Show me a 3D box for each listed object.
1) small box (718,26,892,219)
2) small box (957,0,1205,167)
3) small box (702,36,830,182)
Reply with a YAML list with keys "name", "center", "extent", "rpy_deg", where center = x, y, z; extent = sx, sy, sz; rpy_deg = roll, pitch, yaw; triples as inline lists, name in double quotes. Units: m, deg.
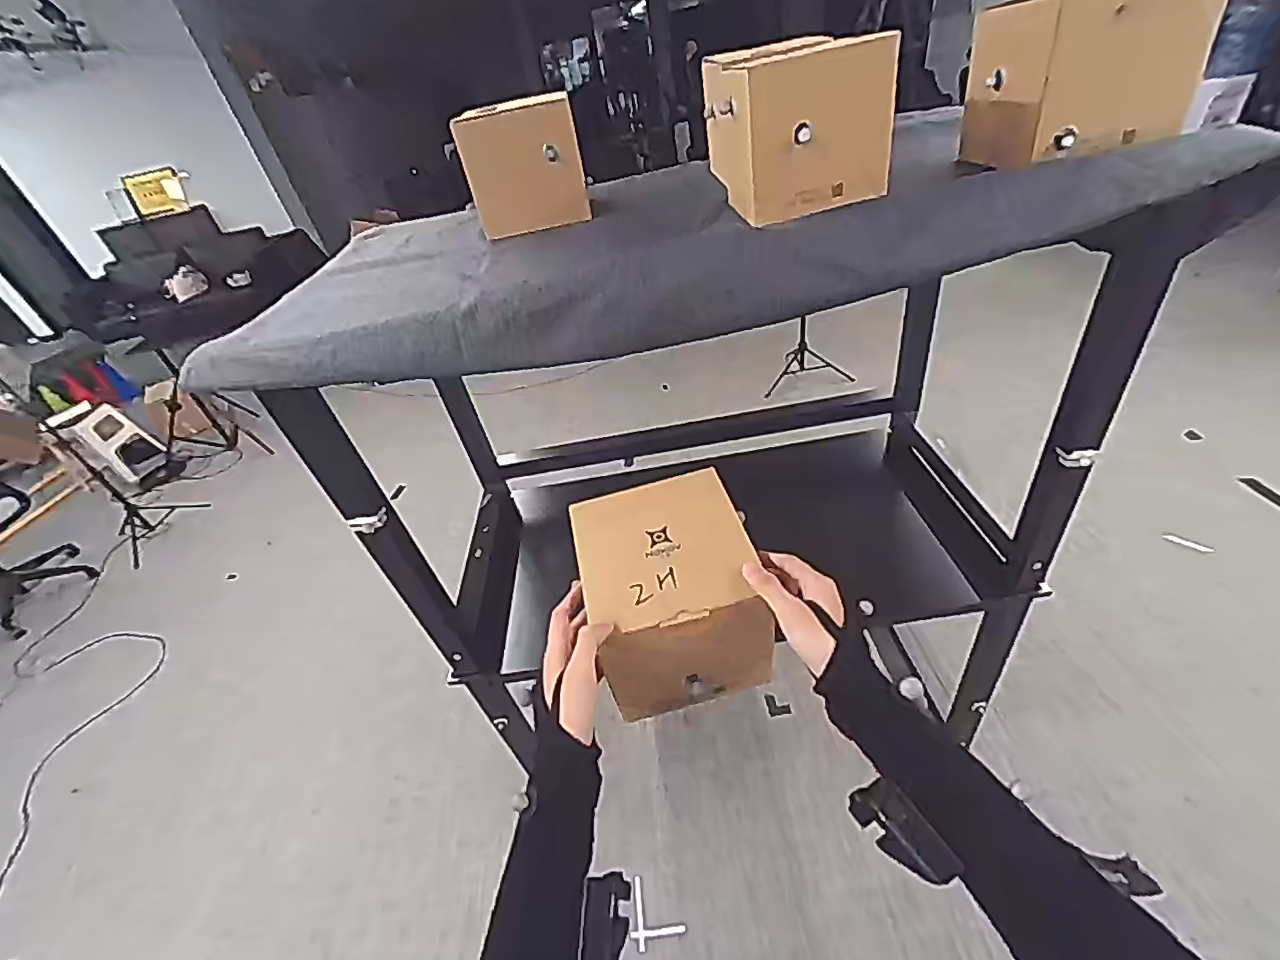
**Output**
- name: "small box"
  center: [0.201, -0.447, 0.691]
  extent: [0.168, 0.176, 0.179]
  rpy_deg: [-10, 36, 4]
- name: "small box"
  center: [0.512, -0.488, 0.648]
  extent: [0.168, 0.176, 0.179]
  rpy_deg: [-9, 34, 6]
- name: "small box"
  center: [0.201, -0.605, 0.891]
  extent: [0.168, 0.176, 0.179]
  rpy_deg: [-10, 37, 3]
